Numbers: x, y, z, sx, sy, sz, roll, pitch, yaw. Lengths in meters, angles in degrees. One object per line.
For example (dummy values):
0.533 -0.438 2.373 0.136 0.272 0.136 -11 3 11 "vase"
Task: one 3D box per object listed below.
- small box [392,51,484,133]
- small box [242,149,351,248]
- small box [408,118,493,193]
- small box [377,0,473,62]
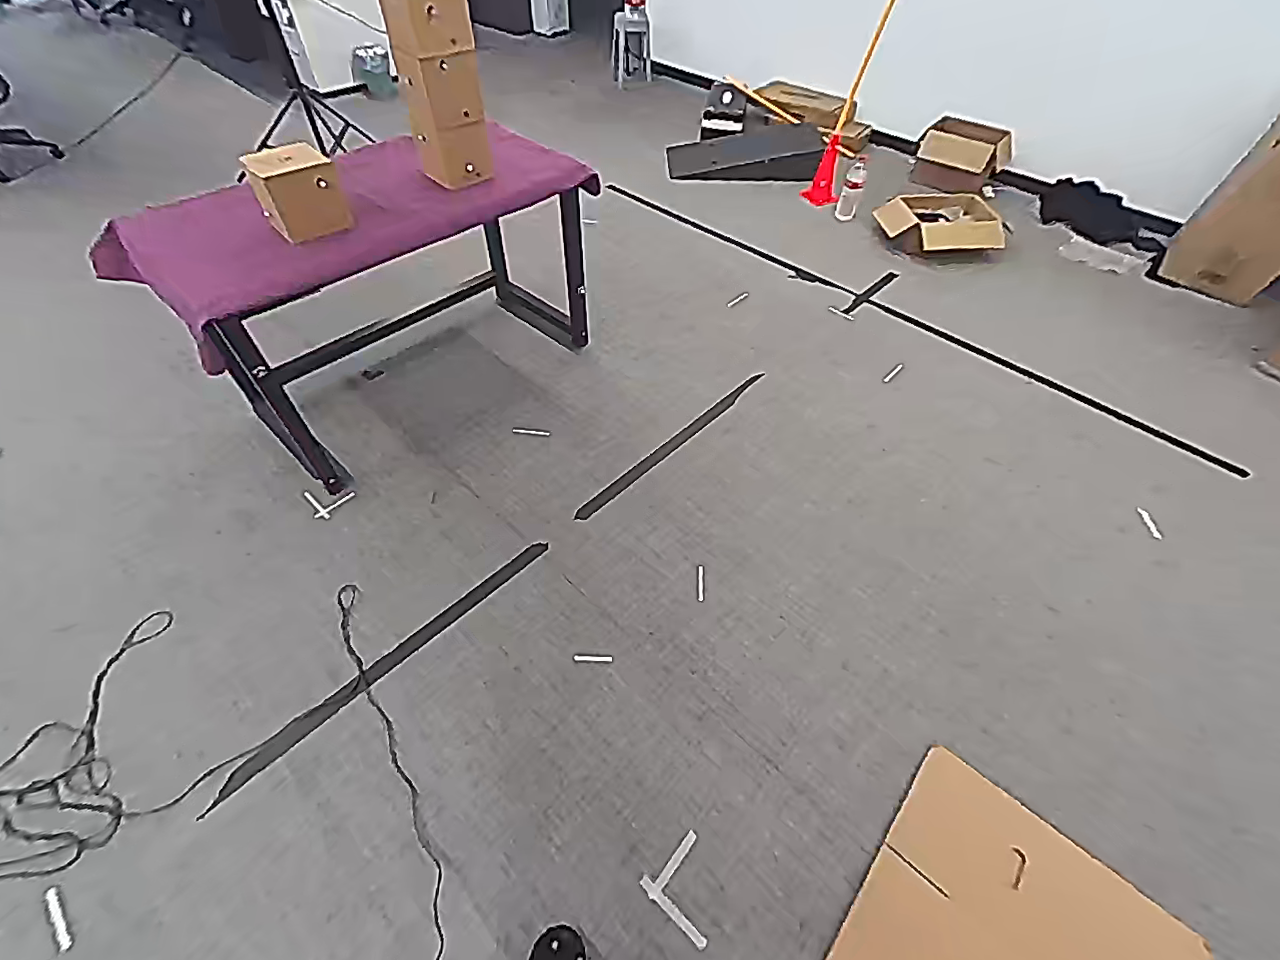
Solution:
-0.574 -1.119 1.546 0.168 0.176 0.179 -34 59 -25 "small box"
-0.907 -0.754 1.450 0.179 0.176 0.168 -36 60 -26 "small box"
-0.581 -1.018 1.675 0.168 0.176 0.179 -36 61 -26 "small box"
-0.564 -1.218 1.417 0.168 0.176 0.179 -35 59 -25 "small box"
